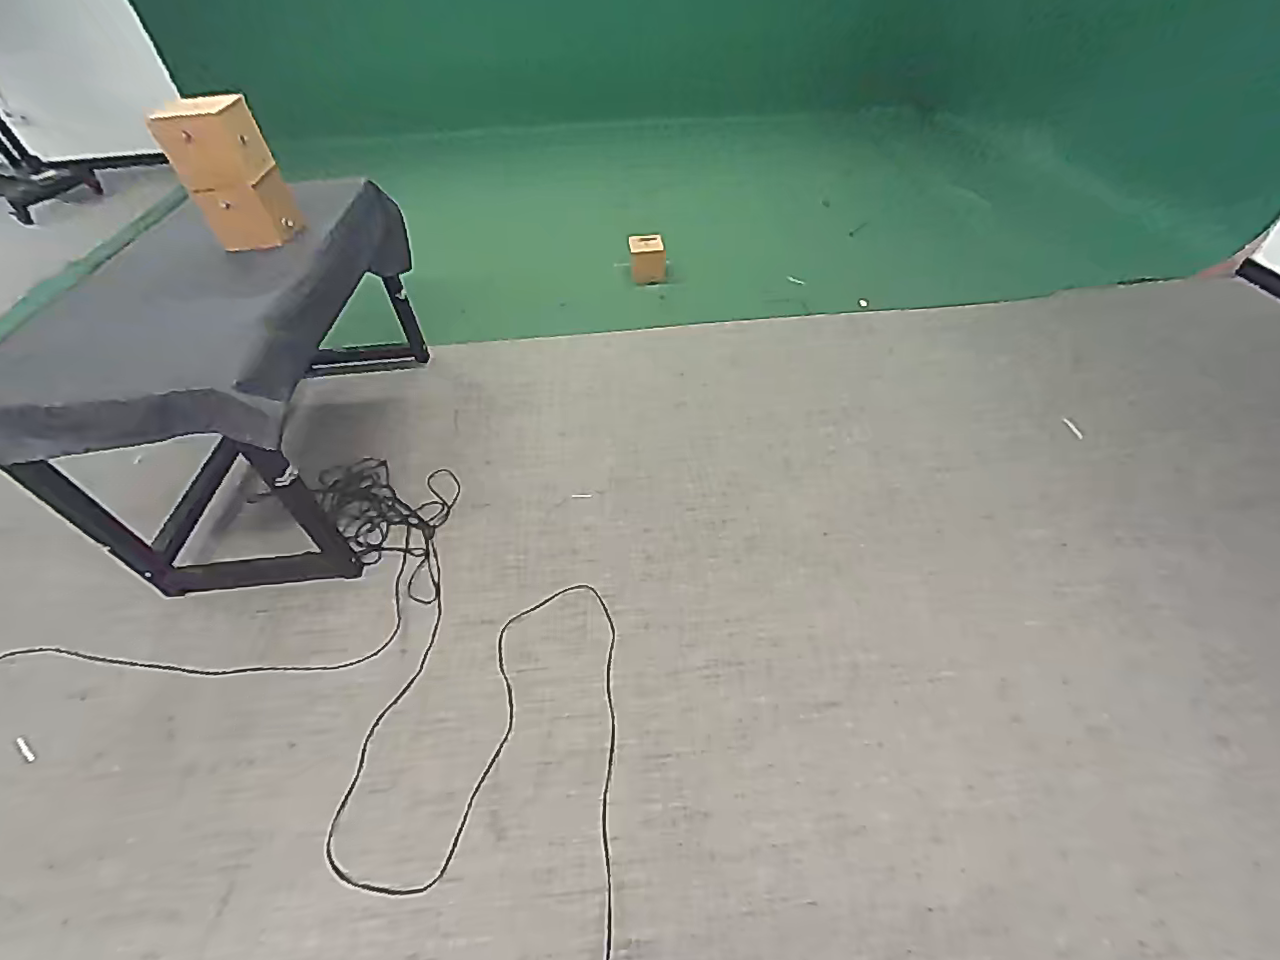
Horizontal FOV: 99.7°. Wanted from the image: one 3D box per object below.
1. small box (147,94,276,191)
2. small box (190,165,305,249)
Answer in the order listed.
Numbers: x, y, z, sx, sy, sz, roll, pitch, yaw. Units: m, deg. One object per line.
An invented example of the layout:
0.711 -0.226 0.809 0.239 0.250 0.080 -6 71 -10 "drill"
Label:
-1.099 -0.876 1.408 0.179 0.176 0.168 -6 49 0 "small box"
-1.099 -0.769 1.531 0.179 0.176 0.168 -4 49 -1 "small box"
